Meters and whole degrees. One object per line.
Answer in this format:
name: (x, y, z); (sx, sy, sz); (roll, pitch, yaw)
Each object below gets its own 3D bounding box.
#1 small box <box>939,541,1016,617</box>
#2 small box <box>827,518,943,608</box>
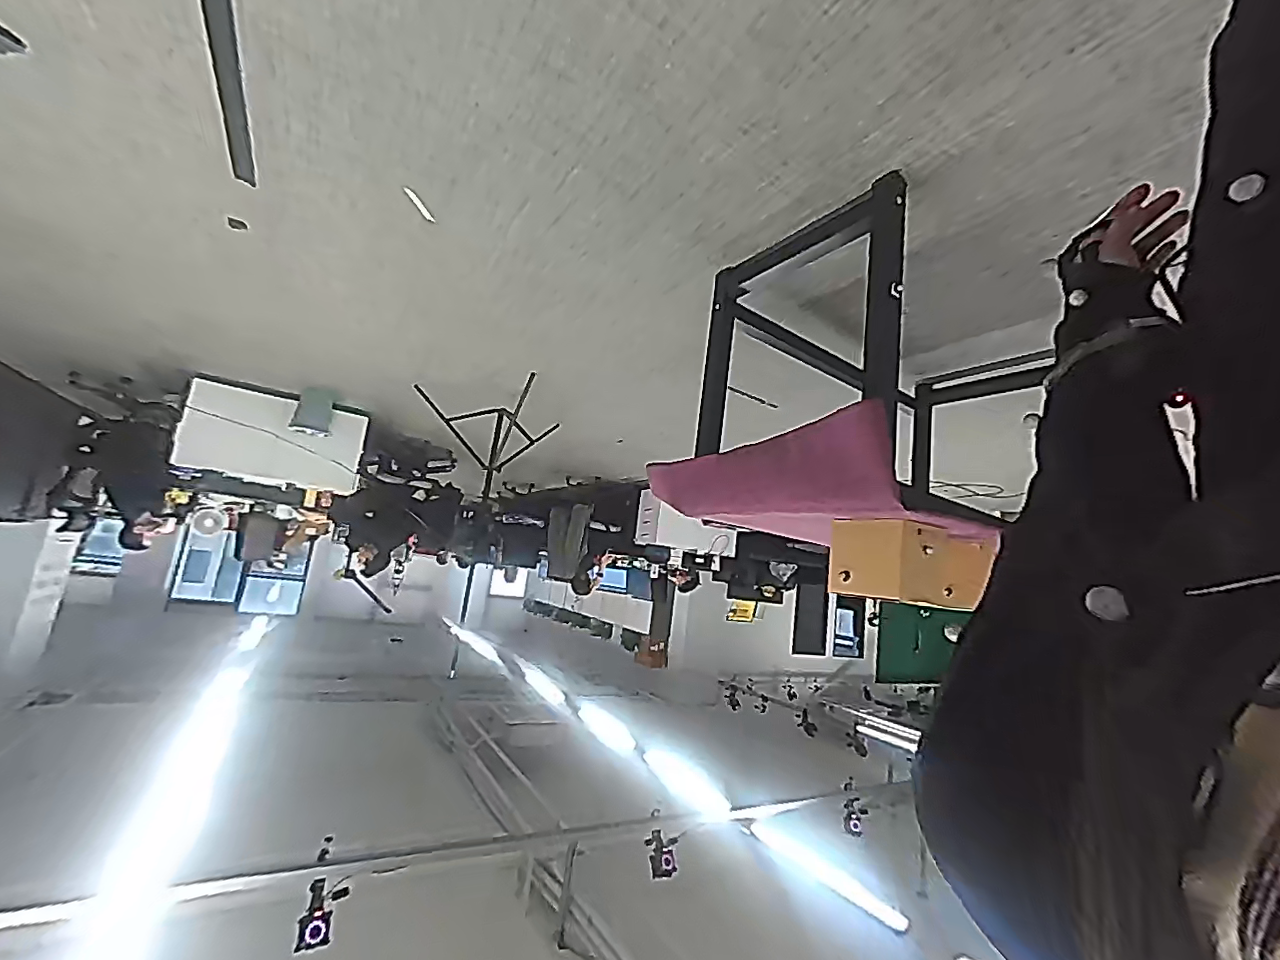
small box: (0.844, 0.253, 1.404); (0.168, 0.176, 0.179); (12, 168, -27)
small box: (0.539, 0.179, 1.185); (0.168, 0.176, 0.179); (12, 169, -31)
